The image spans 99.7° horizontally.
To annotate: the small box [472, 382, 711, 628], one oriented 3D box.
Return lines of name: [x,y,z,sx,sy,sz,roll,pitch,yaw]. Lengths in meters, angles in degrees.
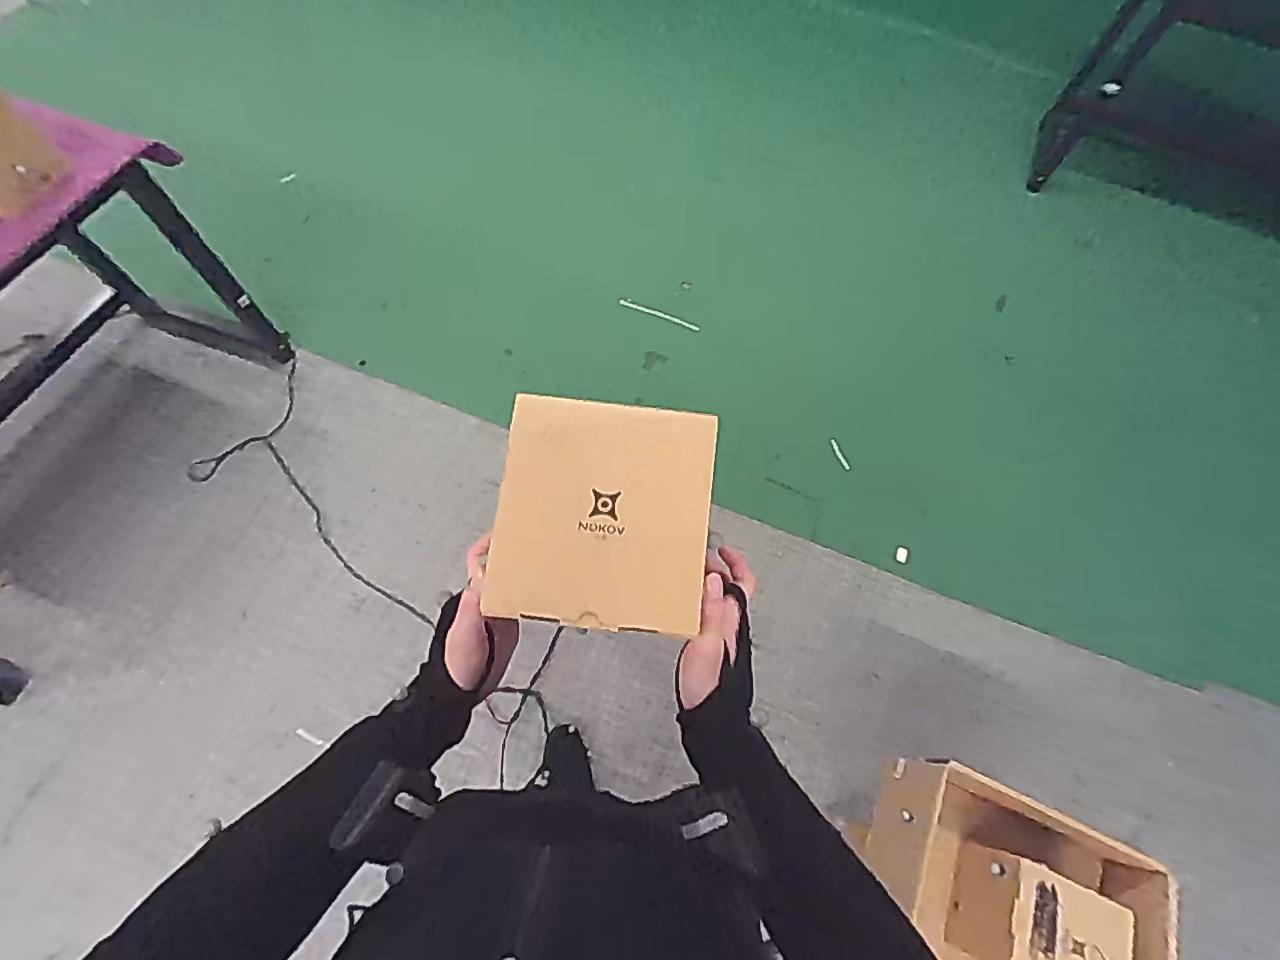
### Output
small box: [-0.036,0.031,0.488,0.168,0.176,0.179,6,79,0]

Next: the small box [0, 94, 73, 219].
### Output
small box: [-1.276,-0.631,1.028,0.179,0.176,0.168,19,67,4]
